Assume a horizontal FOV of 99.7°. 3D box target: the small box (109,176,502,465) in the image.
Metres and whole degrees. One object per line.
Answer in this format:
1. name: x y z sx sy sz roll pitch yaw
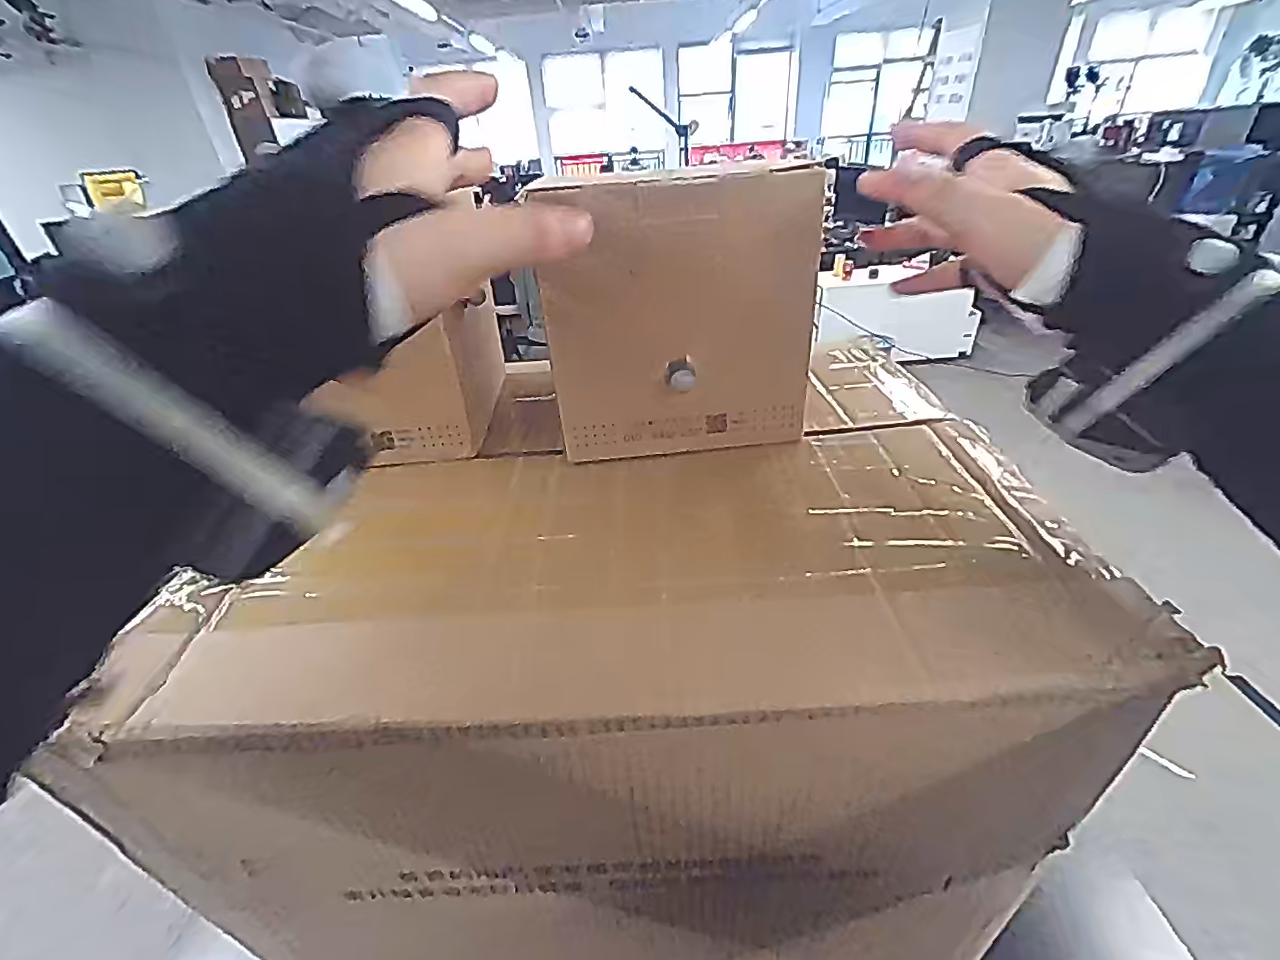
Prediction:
1. small box: -0.208 -0.120 0.407 0.168 0.176 0.179 -6 32 -2

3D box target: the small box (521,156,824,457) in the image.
1. small box: 0.018 -0.133 0.398 0.168 0.176 0.179 -6 31 -1
